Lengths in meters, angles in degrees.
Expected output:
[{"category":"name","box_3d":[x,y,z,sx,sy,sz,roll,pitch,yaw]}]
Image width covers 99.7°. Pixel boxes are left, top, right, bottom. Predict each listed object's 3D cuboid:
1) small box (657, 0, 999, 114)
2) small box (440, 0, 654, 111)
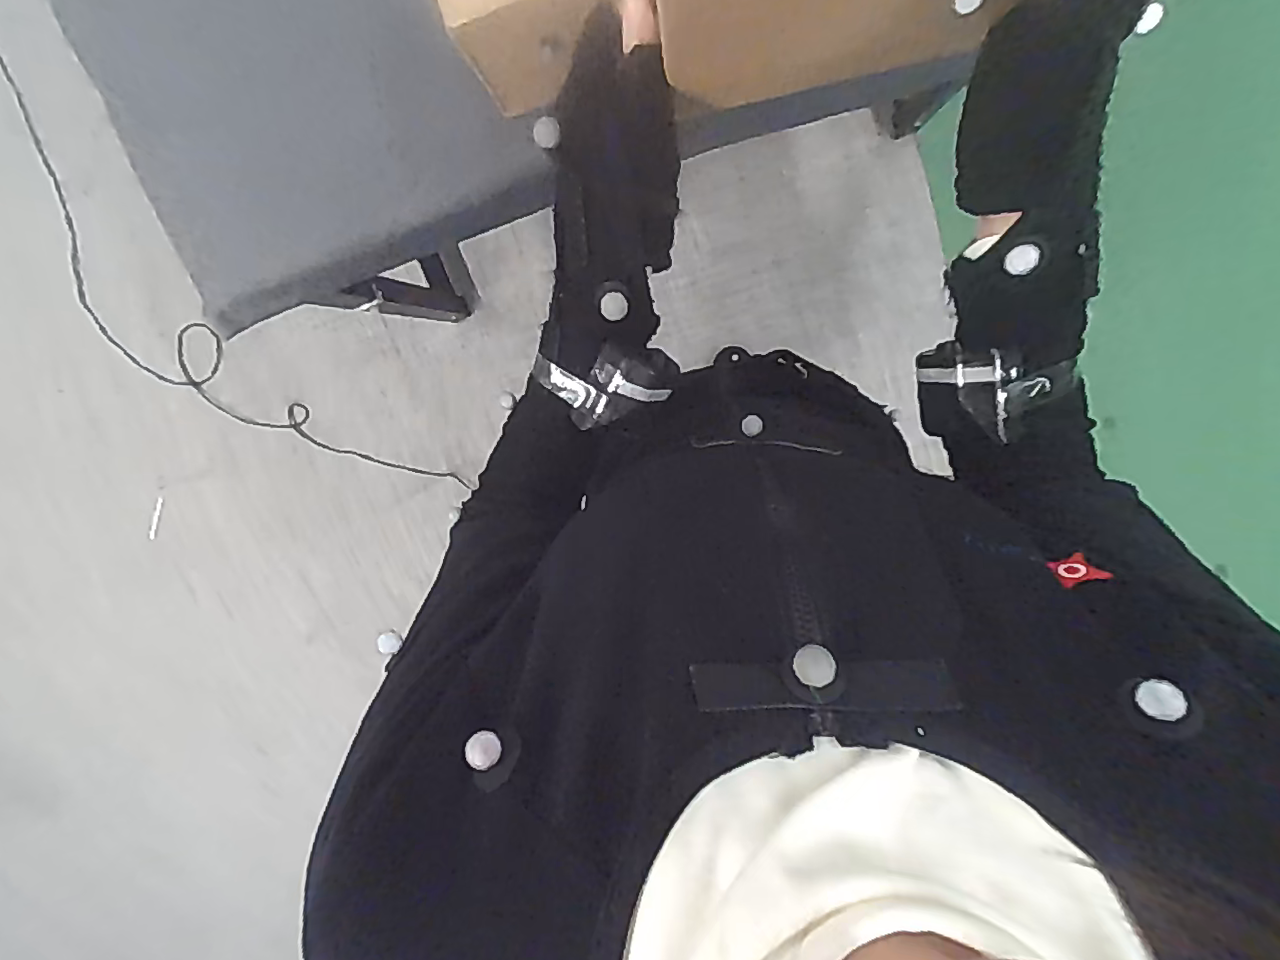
[{"category":"small box","box_3d":[0.085,-0.294,0.229,0.179,0.176,0.168,-9,102,8]},{"category":"small box","box_3d":[-0.093,-0.493,0.511,0.179,0.176,0.168,-15,100,7]}]
